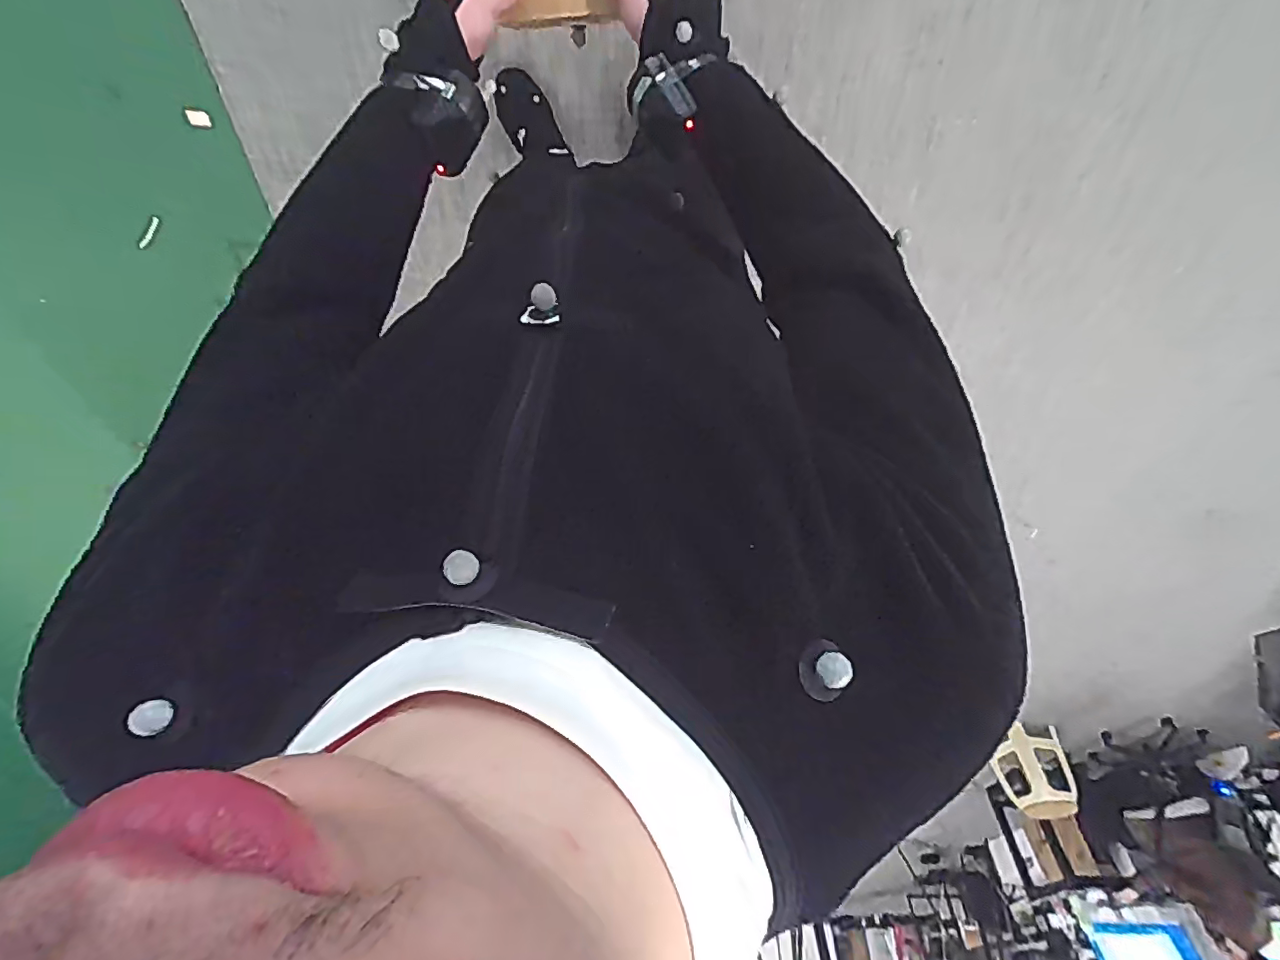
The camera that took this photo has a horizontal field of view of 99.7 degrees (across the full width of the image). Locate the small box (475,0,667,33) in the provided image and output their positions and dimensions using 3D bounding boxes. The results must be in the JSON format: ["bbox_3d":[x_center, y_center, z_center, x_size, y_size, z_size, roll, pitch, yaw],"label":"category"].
[{"bbox_3d":[-0.059,-0.513,0.476,0.168,0.176,0.179,0,128,3],"label":"small box"}]

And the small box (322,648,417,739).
[{"bbox_3d":[-0.709,0.567,1.440,0.168,0.176,0.179,7,133,-6],"label":"small box"}]
